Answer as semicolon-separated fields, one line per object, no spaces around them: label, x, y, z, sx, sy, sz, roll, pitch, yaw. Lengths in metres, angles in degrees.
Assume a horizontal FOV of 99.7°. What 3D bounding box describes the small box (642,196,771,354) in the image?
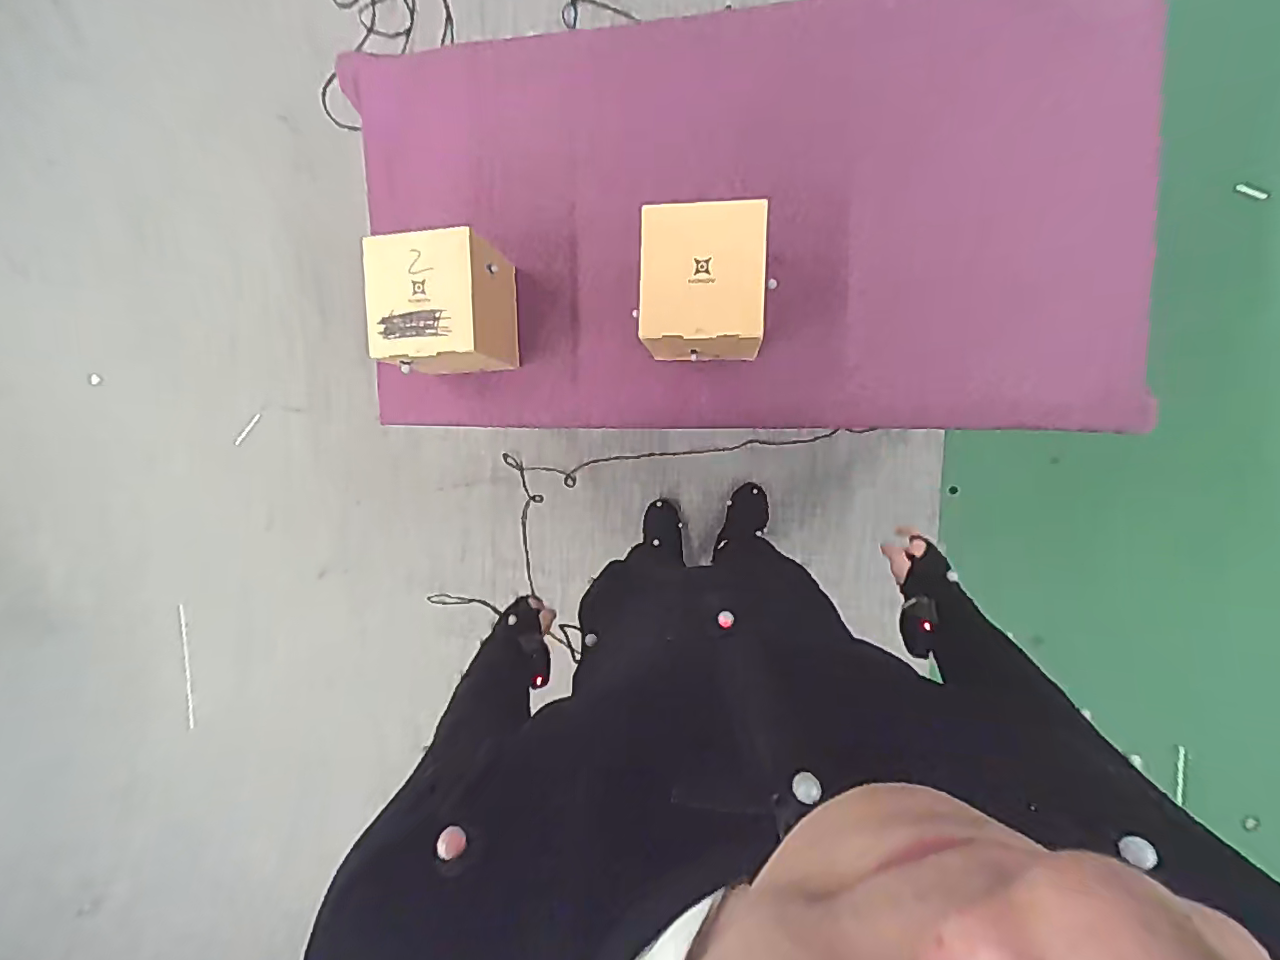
small box;0.095;-0.285;0.785;0.168;0.176;0.179;1;95;8
